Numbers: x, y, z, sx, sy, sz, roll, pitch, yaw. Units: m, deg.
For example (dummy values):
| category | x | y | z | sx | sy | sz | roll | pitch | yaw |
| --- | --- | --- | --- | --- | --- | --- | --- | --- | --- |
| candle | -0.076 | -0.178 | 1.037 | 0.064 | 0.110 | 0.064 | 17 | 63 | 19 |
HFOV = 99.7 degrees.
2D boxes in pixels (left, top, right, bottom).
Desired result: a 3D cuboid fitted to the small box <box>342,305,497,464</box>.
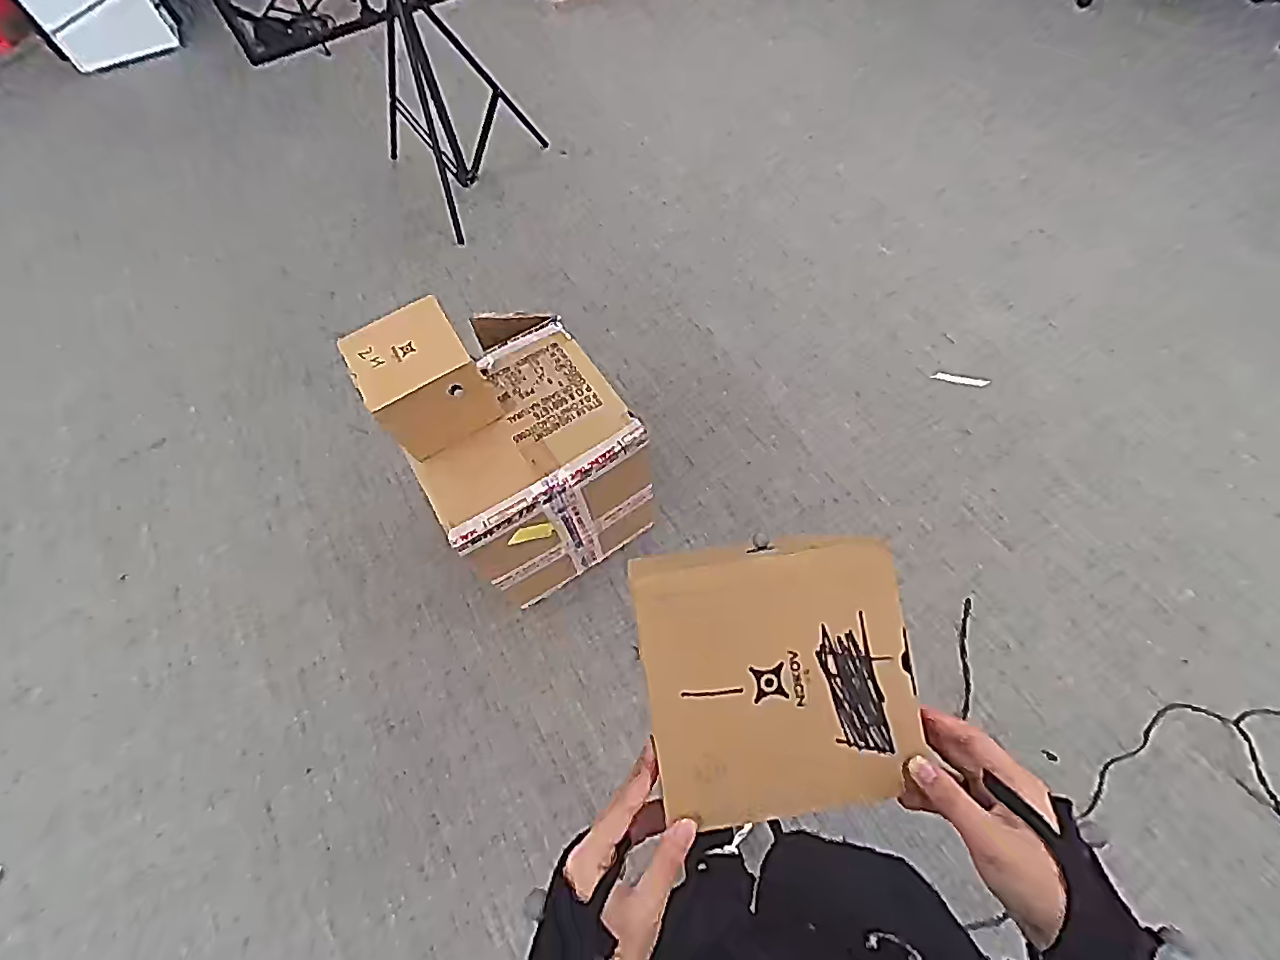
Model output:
| category | x | y | z | sx | sy | sz | roll | pitch | yaw |
| --- | --- | --- | --- | --- | --- | --- | --- | --- | --- |
| small box | -0.366 | -0.159 | 0.937 | 0.179 | 0.176 | 0.168 | -31 | 67 | -8 |

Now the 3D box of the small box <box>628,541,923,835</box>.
| category | x | y | z | sx | sy | sz | roll | pitch | yaw |
| --- | --- | --- | --- | --- | --- | --- | --- | --- | --- |
| small box | 0.087 | 0.142 | 0.436 | 0.179 | 0.176 | 0.168 | -9 | 85 | -2 |
